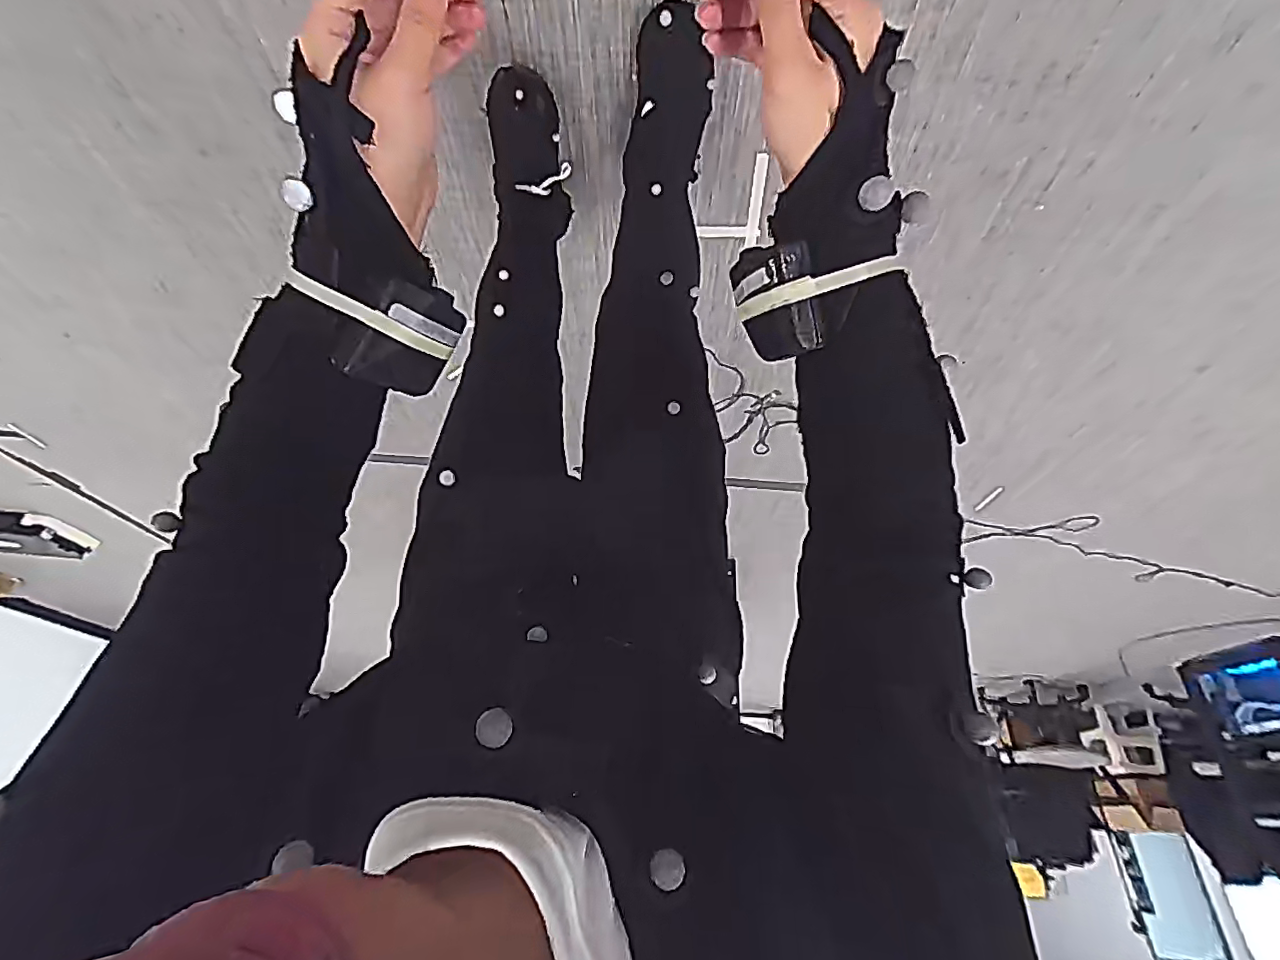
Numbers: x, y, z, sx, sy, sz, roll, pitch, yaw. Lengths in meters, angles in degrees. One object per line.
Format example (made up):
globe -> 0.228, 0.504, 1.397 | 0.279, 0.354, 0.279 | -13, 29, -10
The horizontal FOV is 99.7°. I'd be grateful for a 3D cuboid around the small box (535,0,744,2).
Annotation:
small box -> -0.020, -0.350, 0.238 | 0.168, 0.176, 0.179 | 0, 145, 0
